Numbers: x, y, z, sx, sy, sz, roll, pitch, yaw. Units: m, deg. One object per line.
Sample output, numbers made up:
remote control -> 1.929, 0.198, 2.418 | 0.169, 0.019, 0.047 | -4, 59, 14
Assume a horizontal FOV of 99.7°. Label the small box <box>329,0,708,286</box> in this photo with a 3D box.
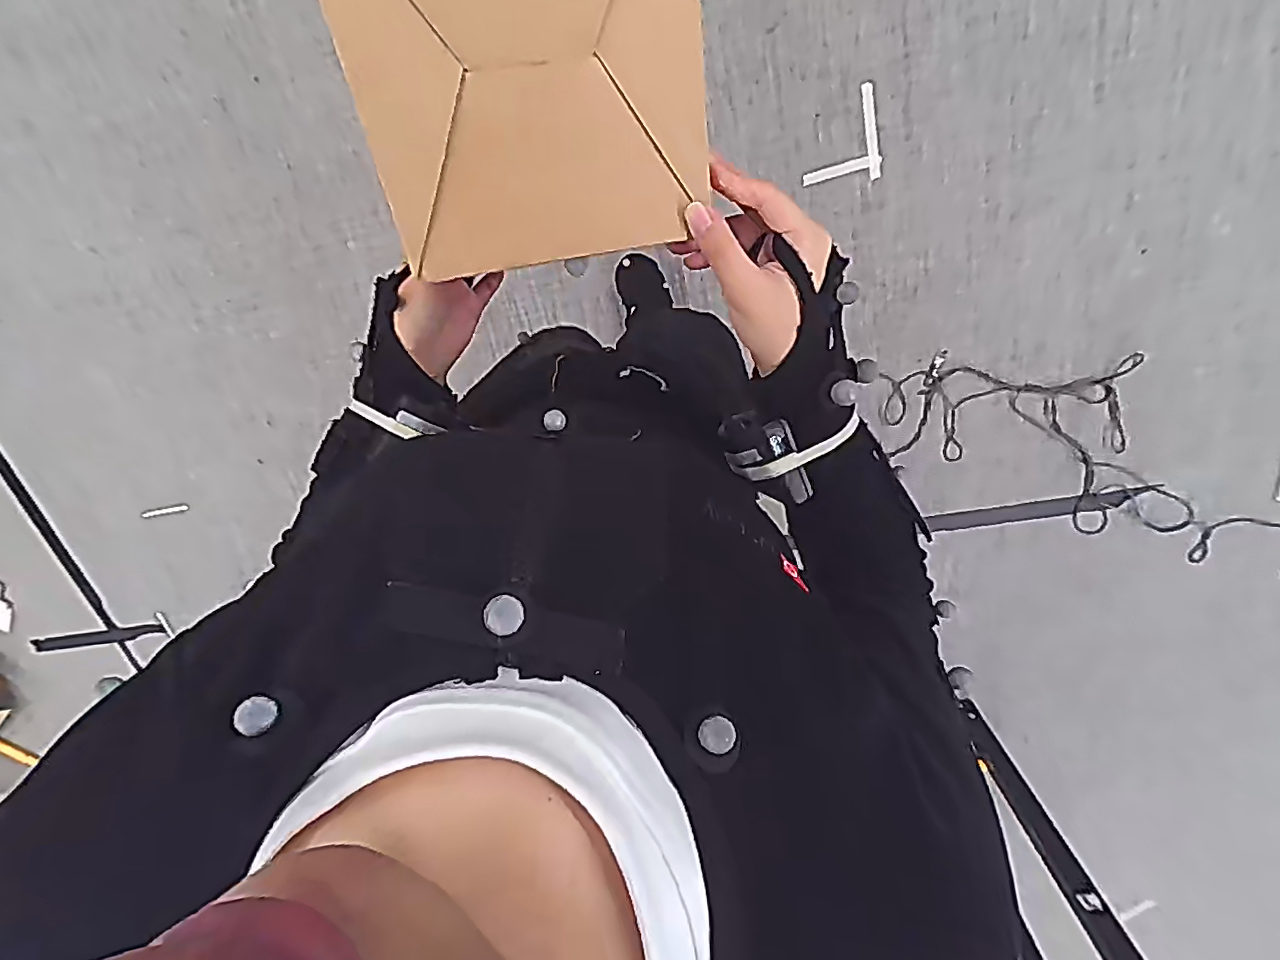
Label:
small box -> -0.062, -0.232, 0.321 | 0.168, 0.176, 0.179 | -11, 121, -4
